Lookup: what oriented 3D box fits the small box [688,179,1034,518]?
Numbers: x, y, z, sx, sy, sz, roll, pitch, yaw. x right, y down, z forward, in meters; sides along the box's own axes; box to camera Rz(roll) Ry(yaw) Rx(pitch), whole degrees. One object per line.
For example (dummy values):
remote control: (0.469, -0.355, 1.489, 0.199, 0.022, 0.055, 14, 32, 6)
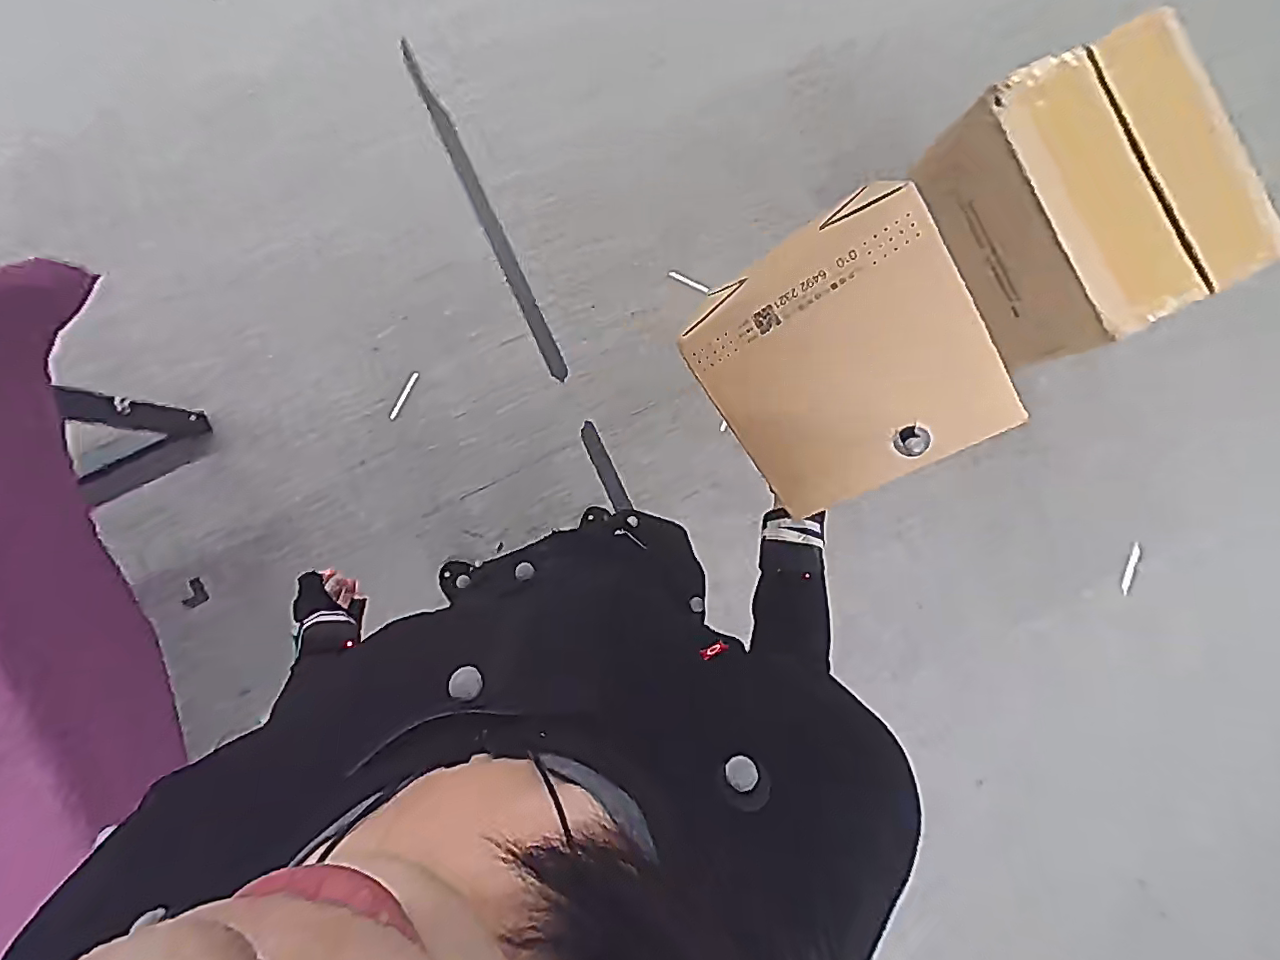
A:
small box: (0.158, -0.108, 0.423, 0.168, 0.179, 0.176, -29, 107, 28)
